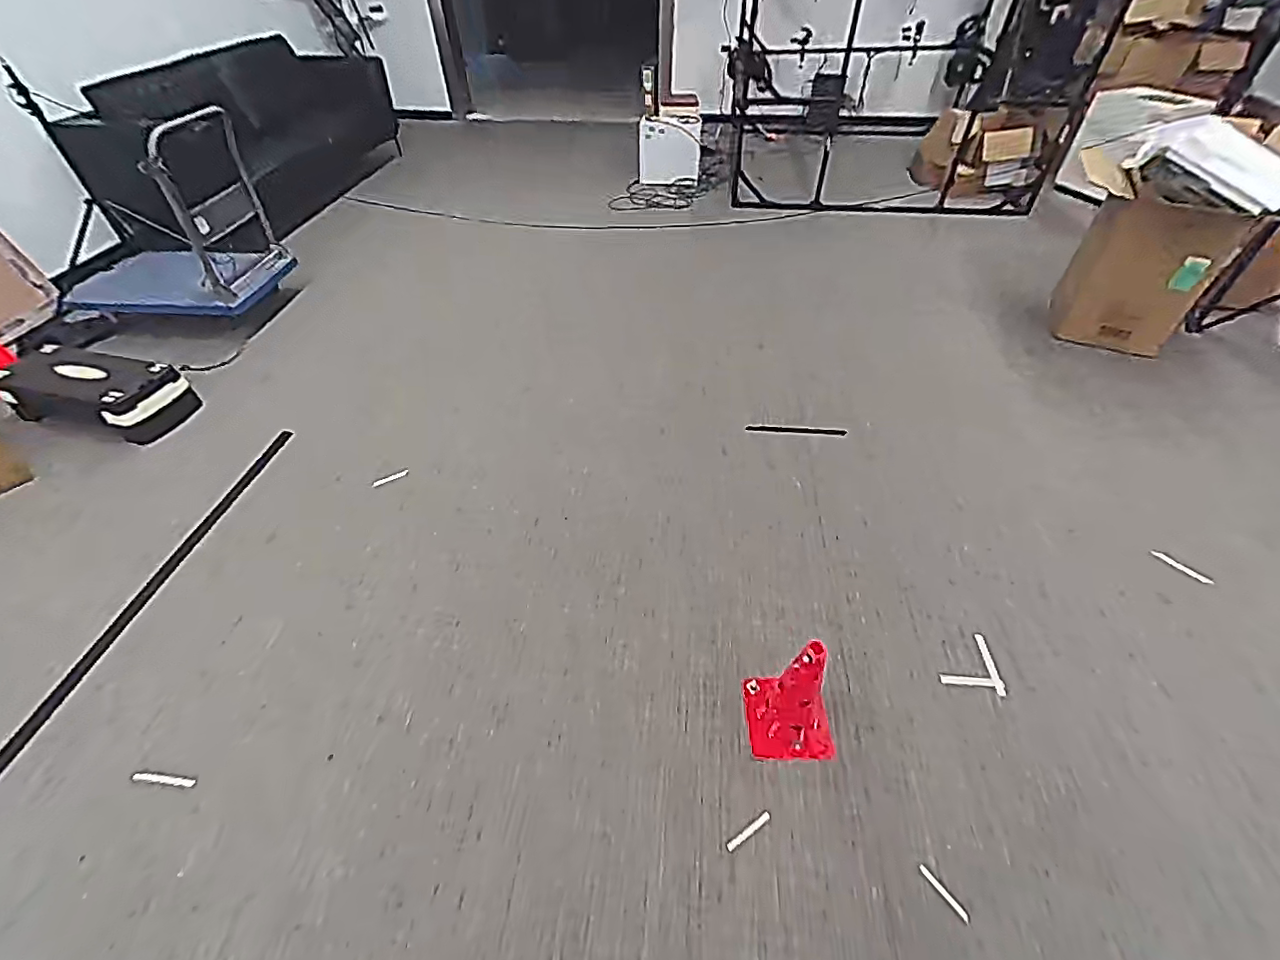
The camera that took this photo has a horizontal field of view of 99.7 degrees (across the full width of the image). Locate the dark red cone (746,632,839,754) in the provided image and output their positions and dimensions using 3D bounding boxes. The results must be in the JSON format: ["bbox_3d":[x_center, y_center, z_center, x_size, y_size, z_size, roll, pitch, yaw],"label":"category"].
[{"bbox_3d":[0.364,0.448,1.200,0.202,0.394,0.201,-1,46,0],"label":"dark red cone"}]
